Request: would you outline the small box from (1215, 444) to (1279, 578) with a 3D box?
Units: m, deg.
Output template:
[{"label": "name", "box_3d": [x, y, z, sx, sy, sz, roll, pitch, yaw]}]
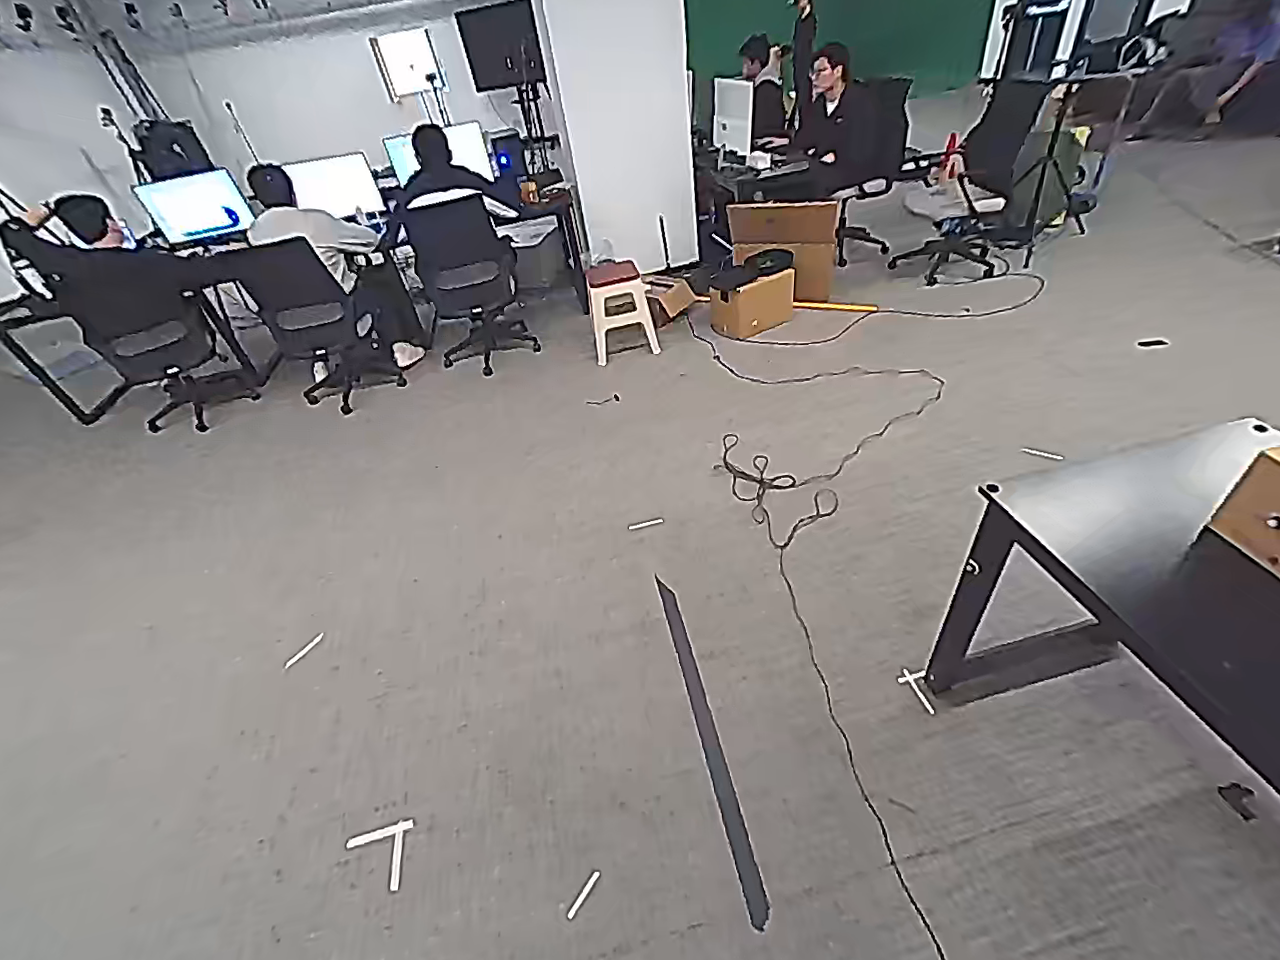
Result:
[{"label": "small box", "box_3d": [1.060, 0.048, 0.829, 0.179, 0.176, 0.168, -12, 40, -1]}]
